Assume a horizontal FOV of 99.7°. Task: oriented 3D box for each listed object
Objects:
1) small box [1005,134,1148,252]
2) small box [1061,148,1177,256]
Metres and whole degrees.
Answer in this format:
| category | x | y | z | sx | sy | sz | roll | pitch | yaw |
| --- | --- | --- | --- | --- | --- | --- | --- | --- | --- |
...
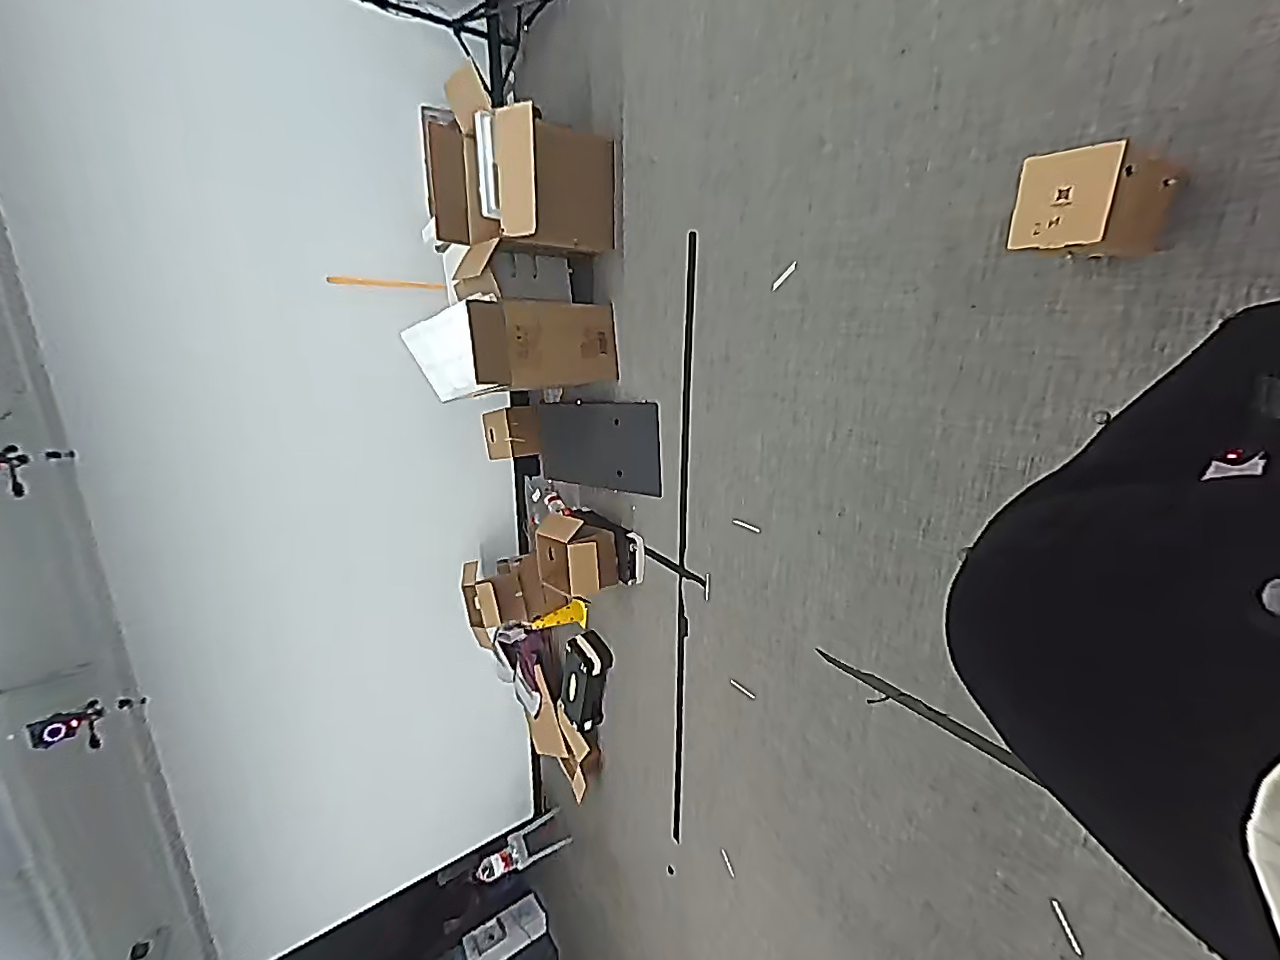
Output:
| category | x | y | z | sx | sy | sz | roll | pitch | yaw |
| --- | --- | --- | --- | --- | --- | --- | --- | --- | --- |
| small box | 0.878 | -0.565 | 1.088 | 0.168 | 0.176 | 0.179 | 25 | 119 | 52 |
| small box | 1.017 | -0.591 | 1.172 | 0.168 | 0.176 | 0.179 | 26 | 119 | 51 |
